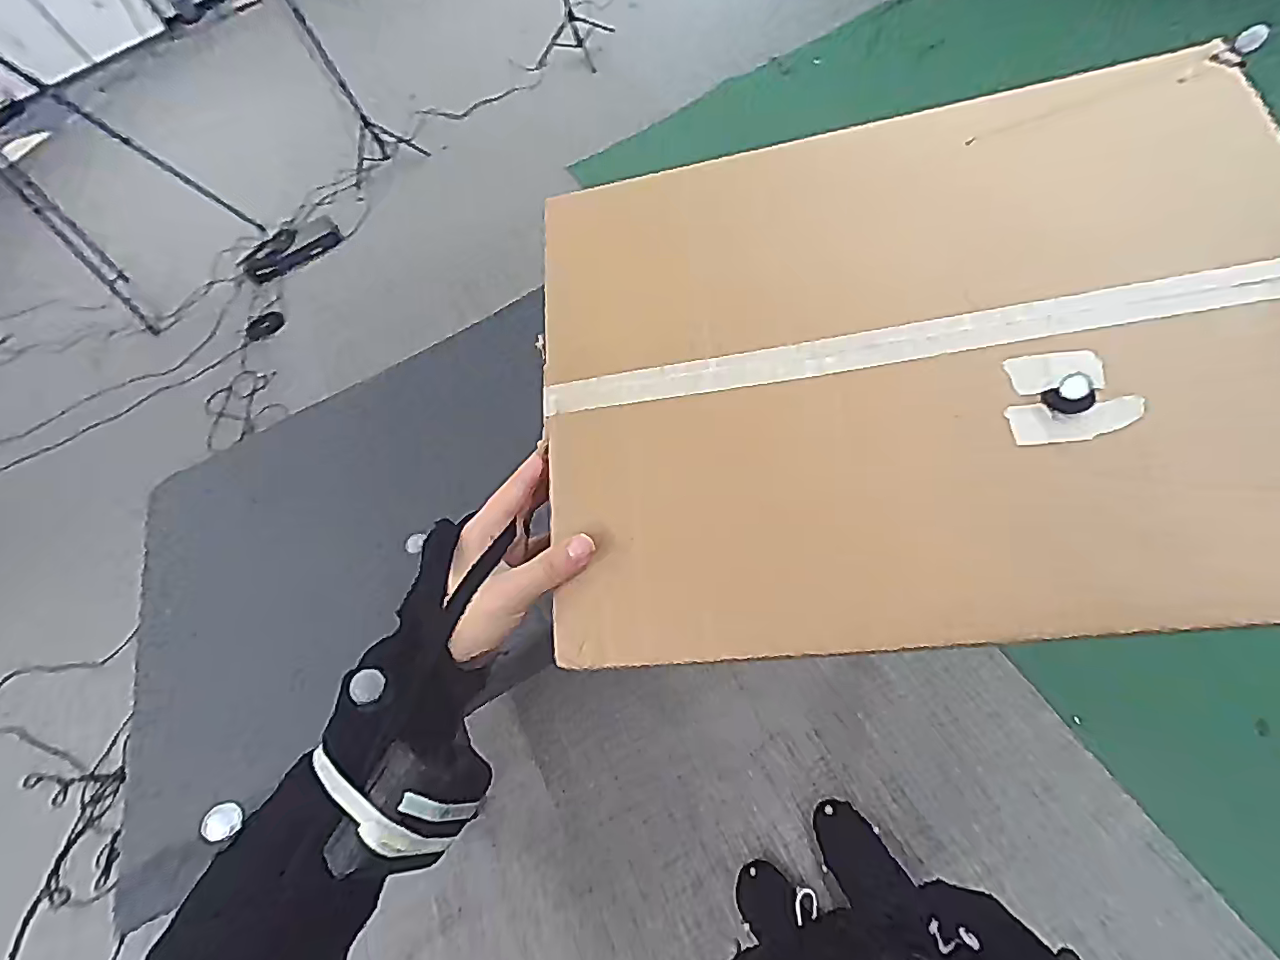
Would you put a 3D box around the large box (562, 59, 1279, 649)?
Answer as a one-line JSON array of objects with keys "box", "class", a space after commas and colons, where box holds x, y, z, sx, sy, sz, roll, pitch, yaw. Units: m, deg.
[{"box": [0.176, -0.037, 0.446, 0.408, 0.320, 0.320, -7, 72, 10], "class": "large box"}]
